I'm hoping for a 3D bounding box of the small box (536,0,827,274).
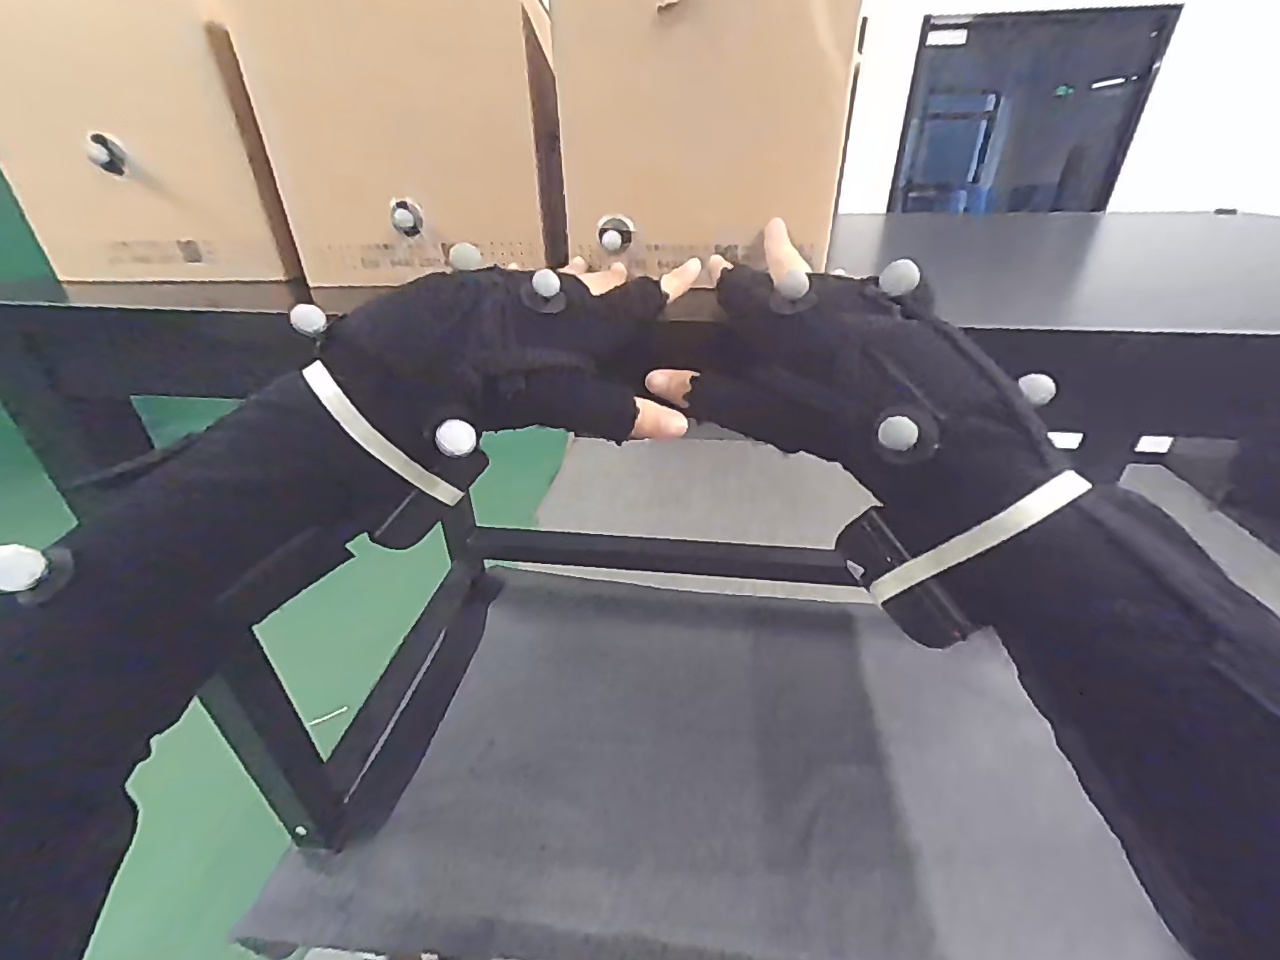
[{"bbox_3d":[0.037,-0.251,0.396,0.168,0.176,0.179,4,30,9],"label":"small box"}]

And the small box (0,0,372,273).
[{"bbox_3d":[-0.343,-0.266,0.434,0.168,0.176,0.179,1,30,0],"label":"small box"}]
